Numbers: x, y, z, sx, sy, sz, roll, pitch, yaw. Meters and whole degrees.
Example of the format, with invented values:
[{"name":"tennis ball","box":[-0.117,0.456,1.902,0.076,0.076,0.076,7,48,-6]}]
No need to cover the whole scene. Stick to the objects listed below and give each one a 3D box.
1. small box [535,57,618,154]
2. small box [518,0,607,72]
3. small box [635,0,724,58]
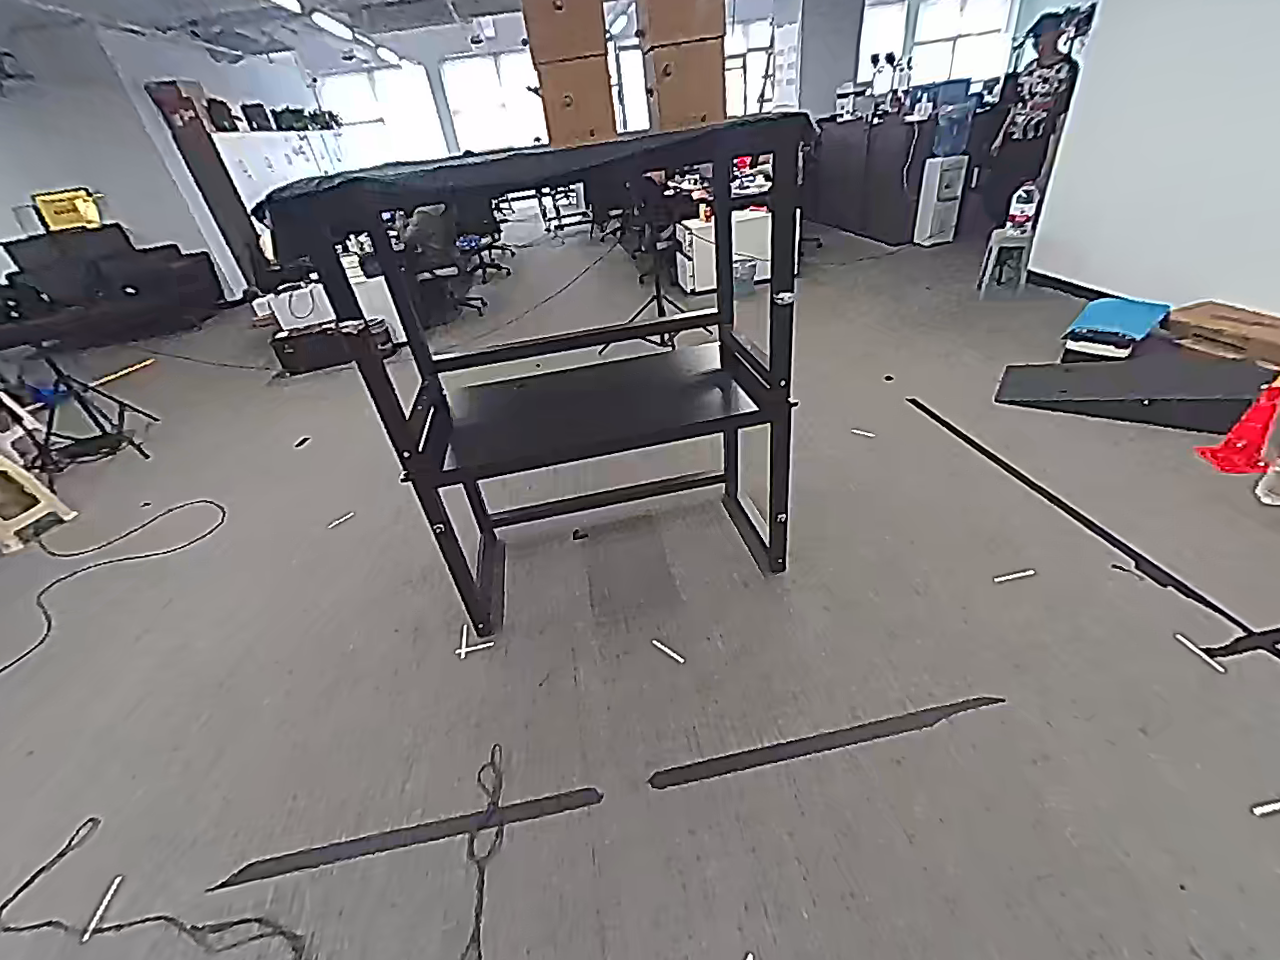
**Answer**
[{"name":"small box","box":[-0.151,-0.897,1.307,0.168,0.176,0.179,-10,32,-2]},{"name":"small box","box":[-0.171,-1.028,1.209,0.179,0.176,0.168,-11,32,-1]},{"name":"small box","box":[0.086,-1.072,1.217,0.179,0.176,0.168,-12,32,-3]}]
